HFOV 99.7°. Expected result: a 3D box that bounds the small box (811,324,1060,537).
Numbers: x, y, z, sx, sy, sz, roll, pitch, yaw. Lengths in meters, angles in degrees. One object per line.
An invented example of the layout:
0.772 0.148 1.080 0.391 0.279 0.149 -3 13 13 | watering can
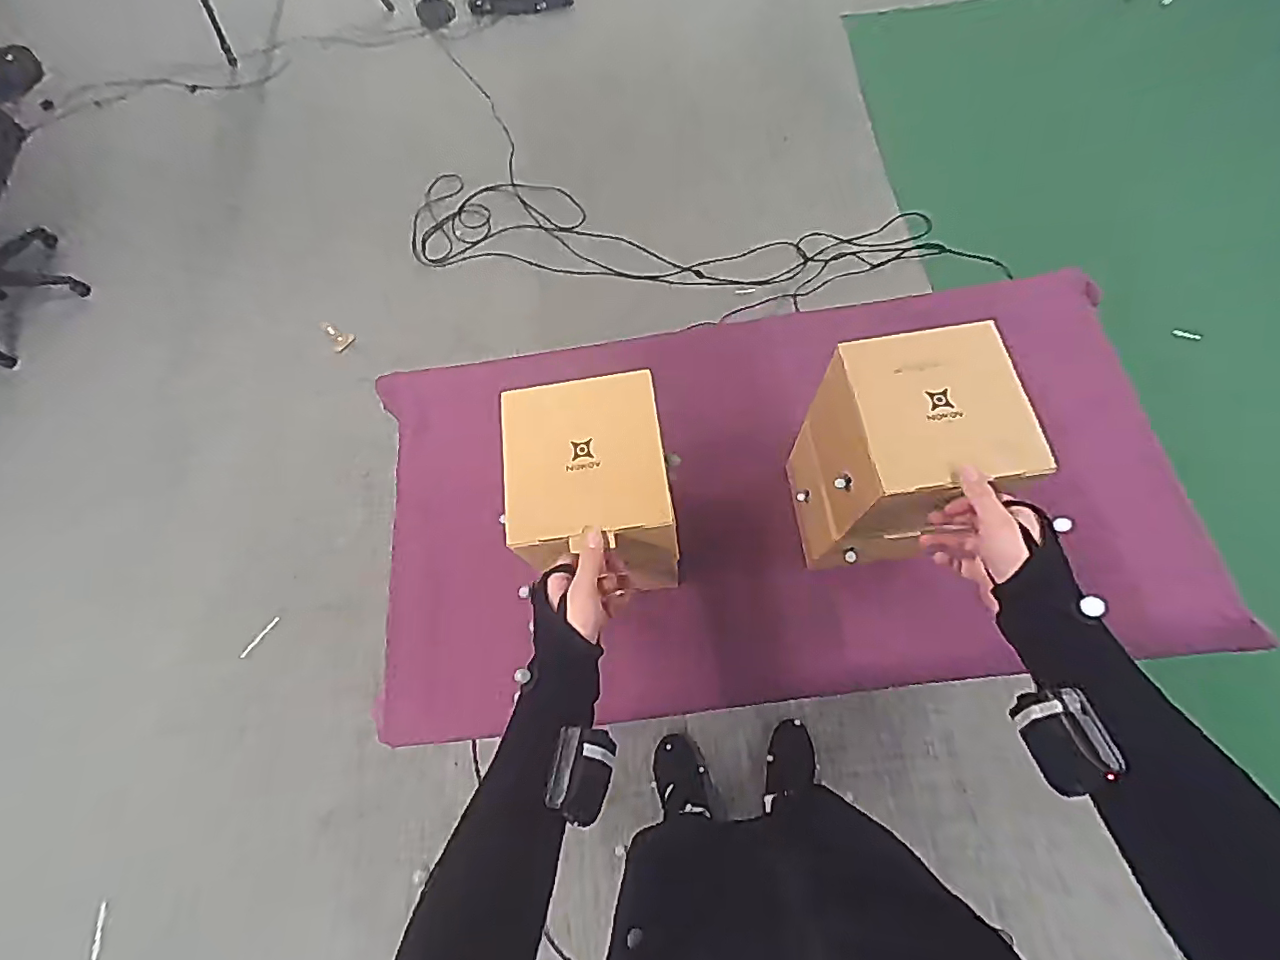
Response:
0.303 -0.042 0.601 0.168 0.176 0.179 -7 67 2 | small box

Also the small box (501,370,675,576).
-0.053 0.001 0.616 0.168 0.176 0.179 -8 70 1 | small box

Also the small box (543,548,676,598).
-0.040 0.061 0.767 0.168 0.176 0.179 -7 69 3 | small box
